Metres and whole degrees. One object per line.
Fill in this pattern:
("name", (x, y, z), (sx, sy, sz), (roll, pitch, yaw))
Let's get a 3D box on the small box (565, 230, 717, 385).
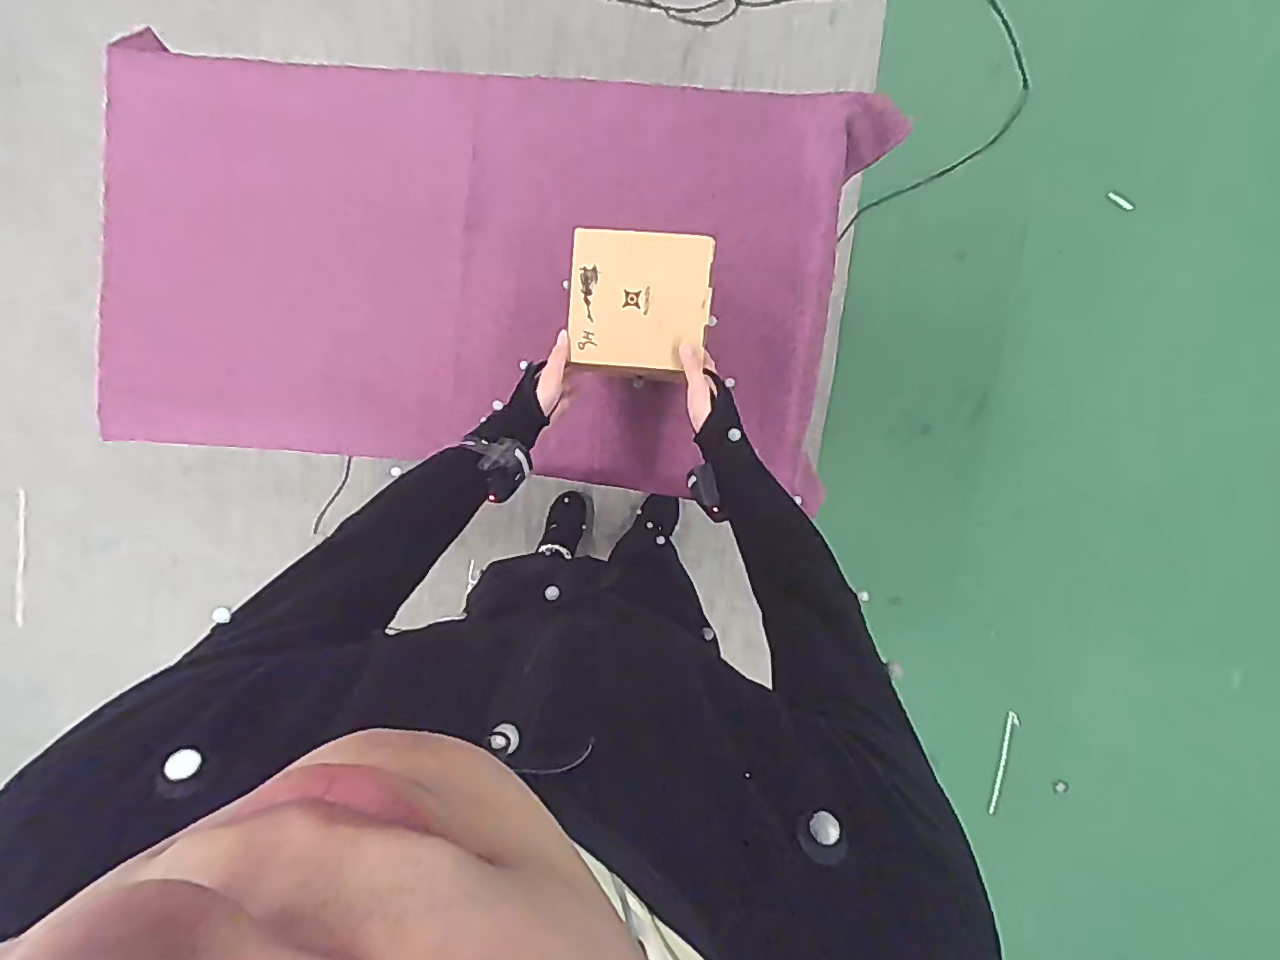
("small box", (0.003, -0.224, 0.743), (0.179, 0.176, 0.168), (5, 96, 2))
